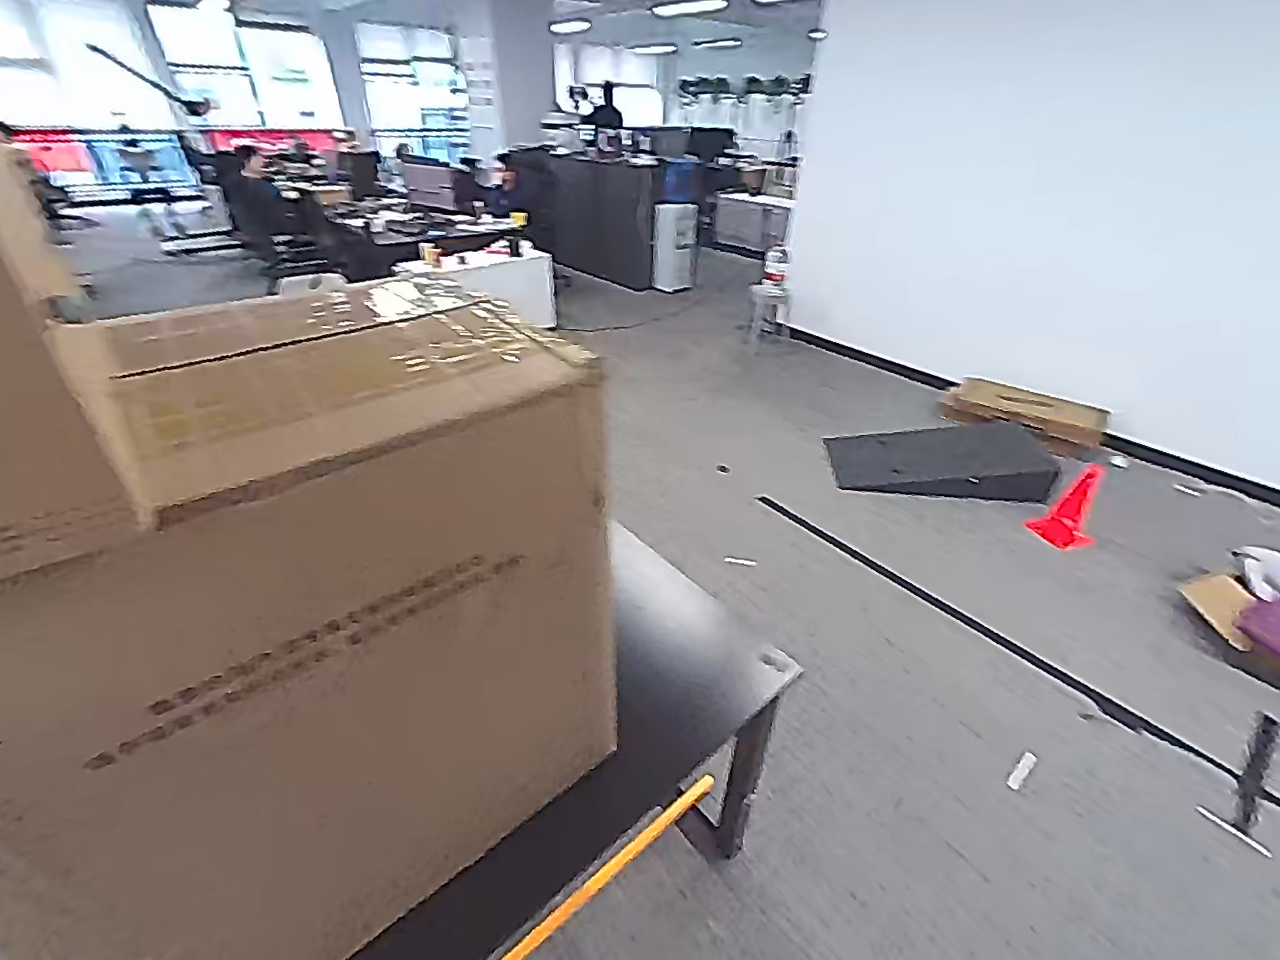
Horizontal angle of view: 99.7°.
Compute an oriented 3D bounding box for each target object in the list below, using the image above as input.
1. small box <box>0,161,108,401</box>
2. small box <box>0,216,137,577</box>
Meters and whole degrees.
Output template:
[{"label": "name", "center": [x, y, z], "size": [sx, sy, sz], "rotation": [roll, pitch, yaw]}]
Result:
[{"label": "small box", "center": [-0.502, -0.128, 0.358], "size": [0.168, 0.176, 0.179], "rotation": [-27, 42, -34]}, {"label": "small box", "center": [-0.371, -0.047, 0.242], "size": [0.168, 0.176, 0.179], "rotation": [-25, 44, -37]}]
